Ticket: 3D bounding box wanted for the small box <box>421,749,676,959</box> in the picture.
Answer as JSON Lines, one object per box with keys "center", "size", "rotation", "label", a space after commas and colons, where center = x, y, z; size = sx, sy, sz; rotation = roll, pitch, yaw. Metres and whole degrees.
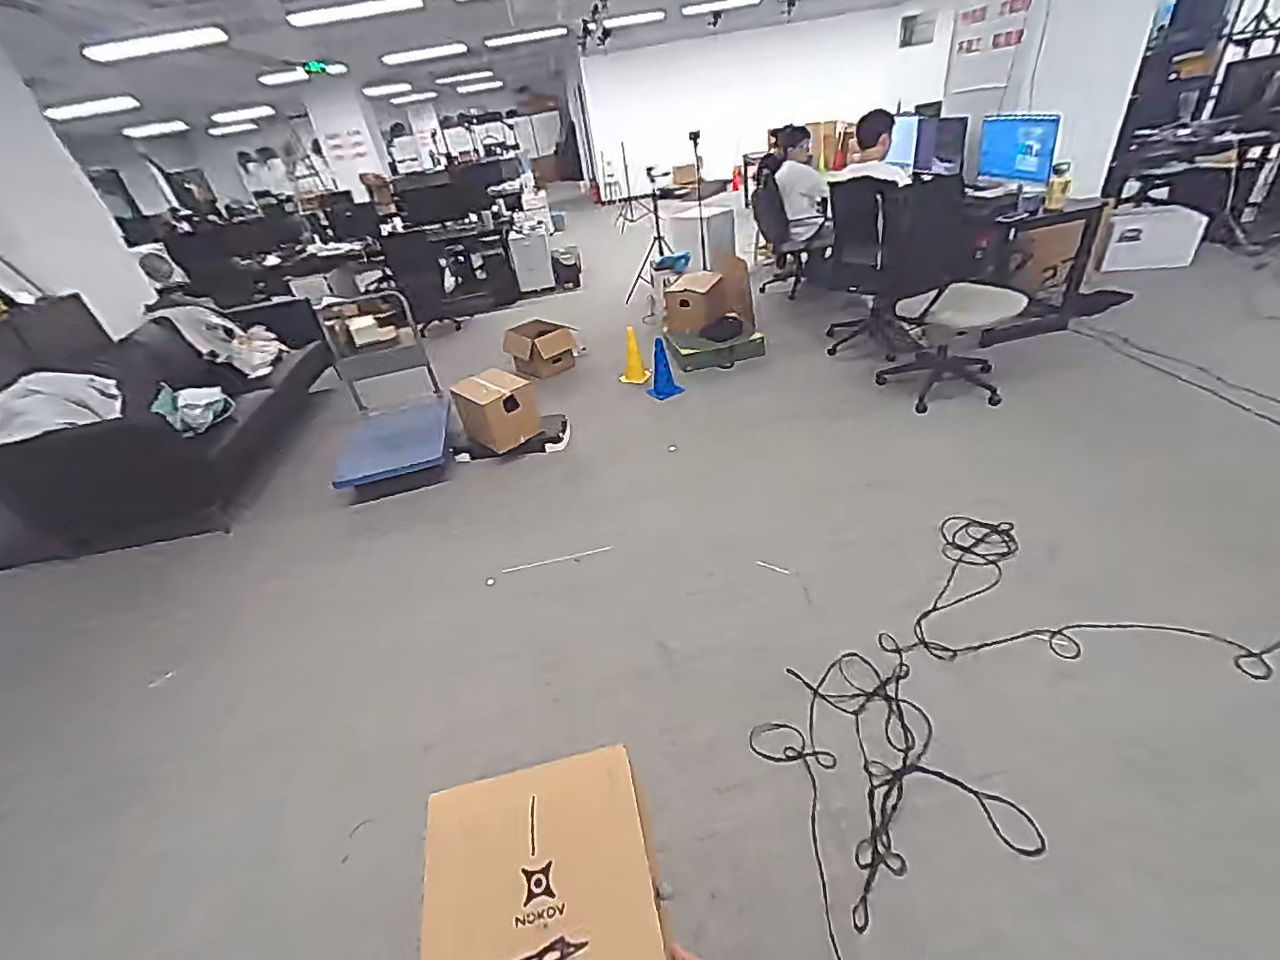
{"center": [-0.065, 0.353, 0.444], "size": [0.168, 0.176, 0.179], "rotation": [-12, 48, -4], "label": "small box"}
